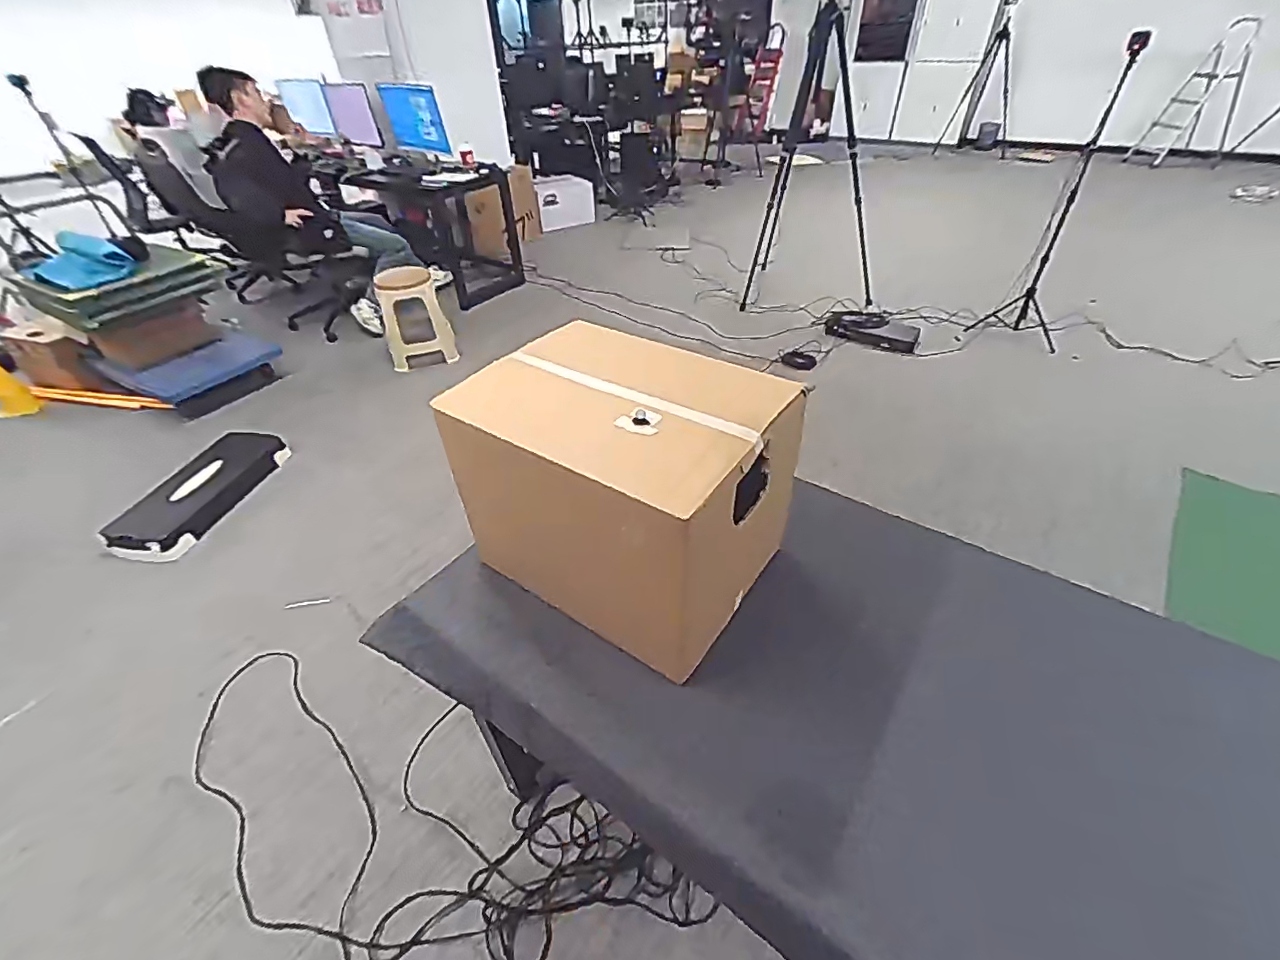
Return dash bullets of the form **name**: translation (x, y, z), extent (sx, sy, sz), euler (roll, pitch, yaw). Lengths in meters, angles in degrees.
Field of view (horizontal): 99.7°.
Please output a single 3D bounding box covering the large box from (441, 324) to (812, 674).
- **large box**: translation (-0.016, 0.005, 0.811), extent (0.408, 0.320, 0.320), euler (24, 47, 26)
